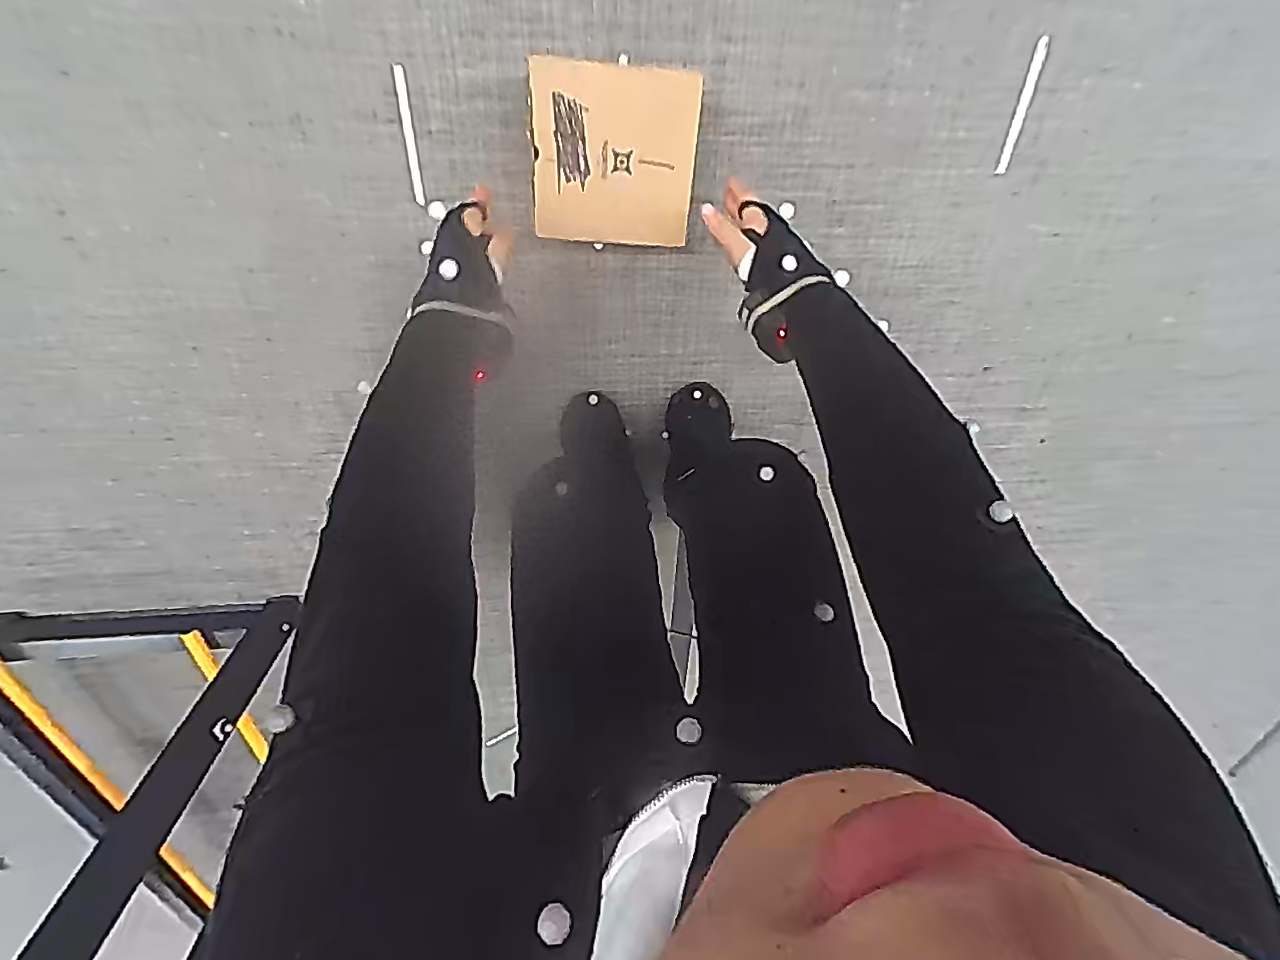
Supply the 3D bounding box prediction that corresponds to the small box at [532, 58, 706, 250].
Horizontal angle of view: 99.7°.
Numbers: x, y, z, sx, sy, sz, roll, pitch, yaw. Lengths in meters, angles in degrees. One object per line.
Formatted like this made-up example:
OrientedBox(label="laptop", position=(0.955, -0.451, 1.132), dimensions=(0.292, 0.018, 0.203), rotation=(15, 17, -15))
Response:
OrientedBox(label="small box", position=(-0.031, -0.381, 0.644), dimensions=(0.179, 0.176, 0.168), rotation=(1, 122, -6))
